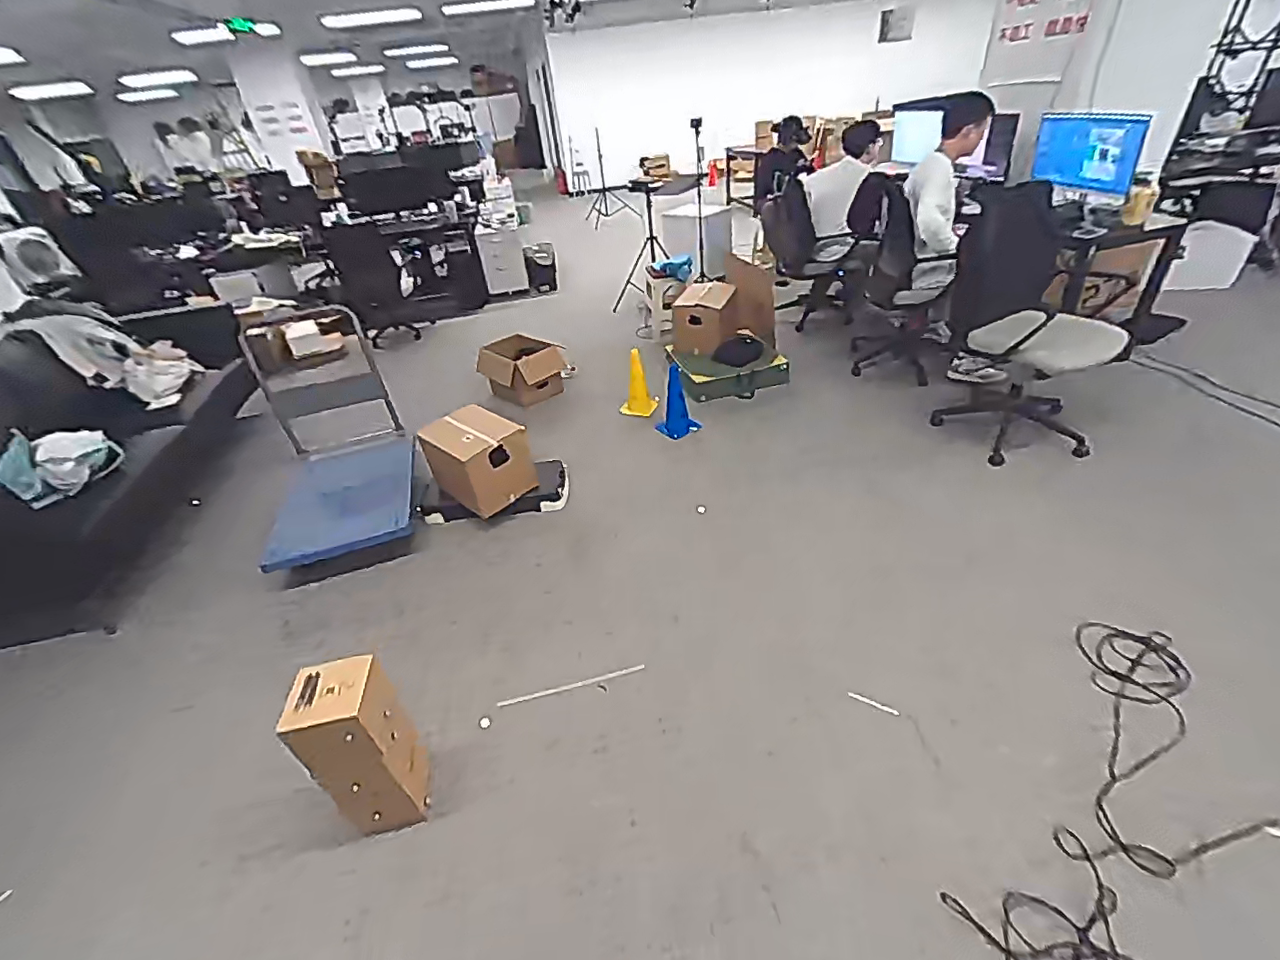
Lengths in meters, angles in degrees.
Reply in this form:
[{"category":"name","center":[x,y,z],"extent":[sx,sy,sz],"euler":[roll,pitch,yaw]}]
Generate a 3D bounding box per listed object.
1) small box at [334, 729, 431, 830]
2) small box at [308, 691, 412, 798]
[{"category":"small box","center":[-0.682,0.807,1.458],"extent":[0.179,0.176,0.168],"euler":[-12,36,-5]},{"category":"small box","center":[-0.694,0.672,1.364],"extent":[0.168,0.176,0.179],"euler":[-11,36,-5]}]
